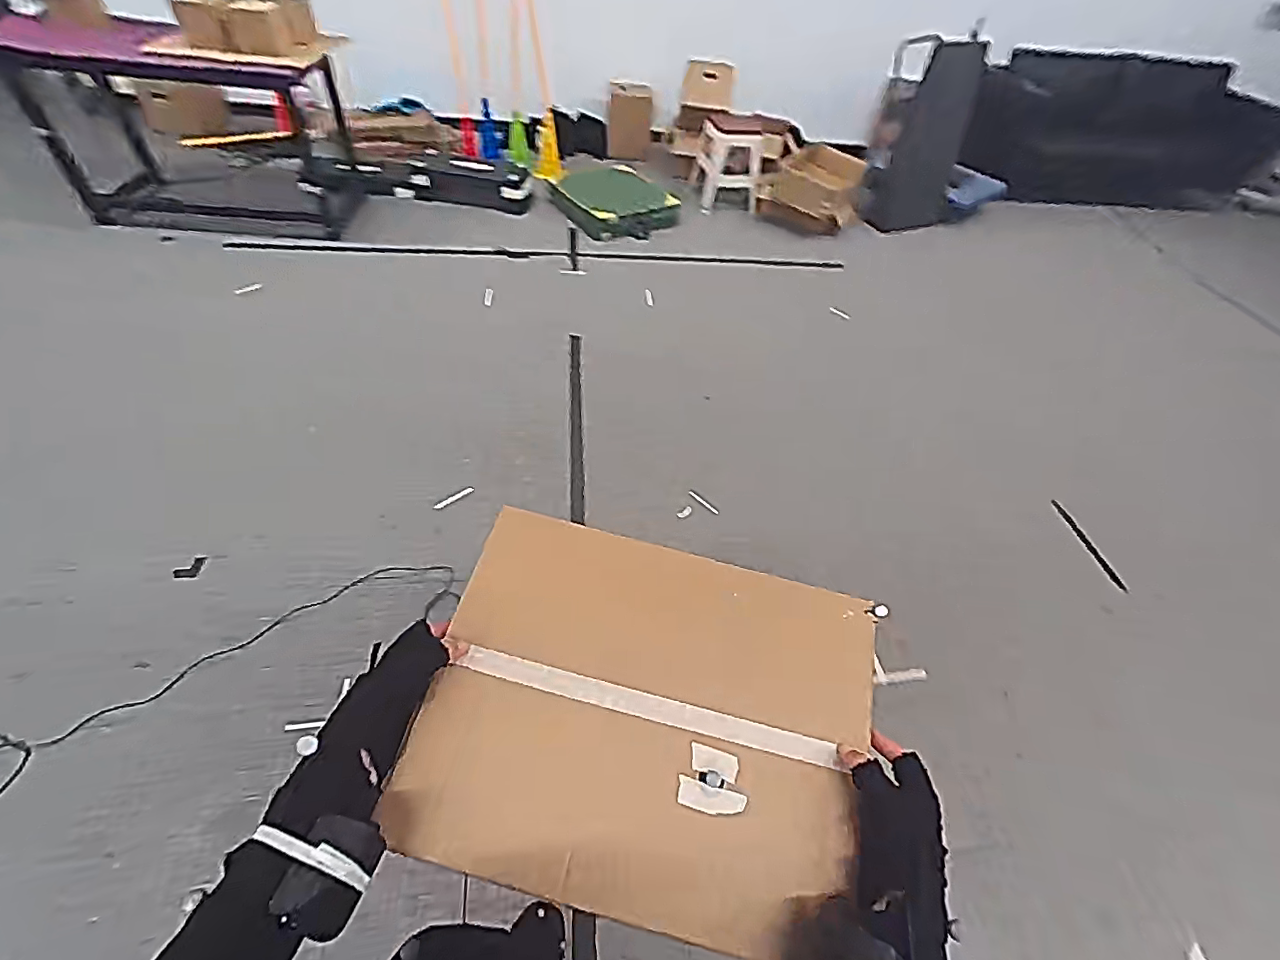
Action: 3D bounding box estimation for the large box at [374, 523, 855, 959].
[{"bbox_3d":[-0.009,0.289,0.637,0.408,0.320,0.320,14,61,2],"label":"large box"}]
